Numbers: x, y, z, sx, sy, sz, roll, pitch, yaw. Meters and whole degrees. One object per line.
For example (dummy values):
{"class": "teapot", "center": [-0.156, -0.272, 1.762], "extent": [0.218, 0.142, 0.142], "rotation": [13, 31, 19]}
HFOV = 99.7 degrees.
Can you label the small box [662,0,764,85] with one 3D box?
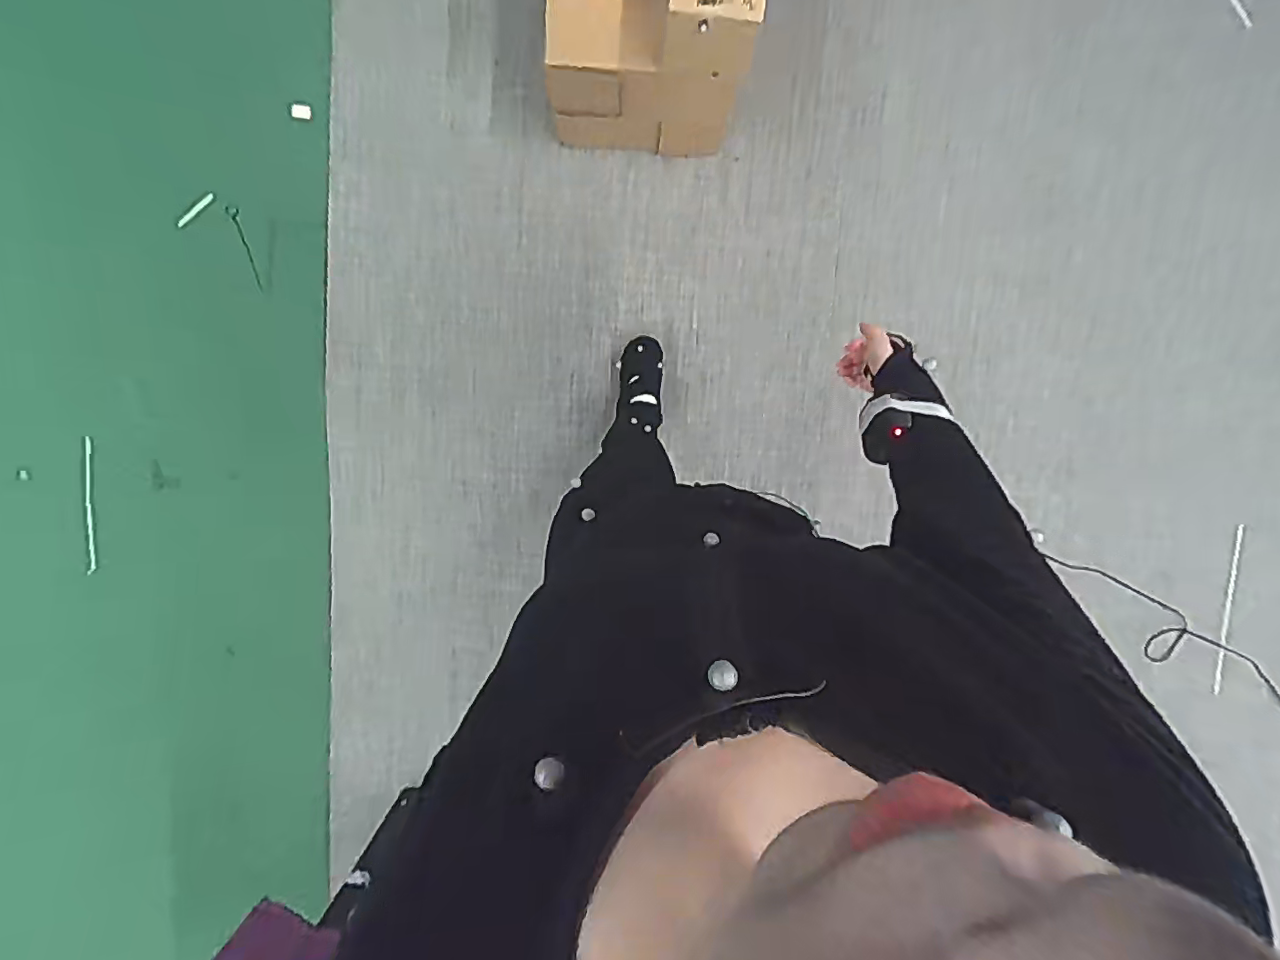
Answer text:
{"class": "small box", "center": [0.134, -0.881, 0.996], "extent": [0.168, 0.176, 0.179], "rotation": [7, 94, -1]}
